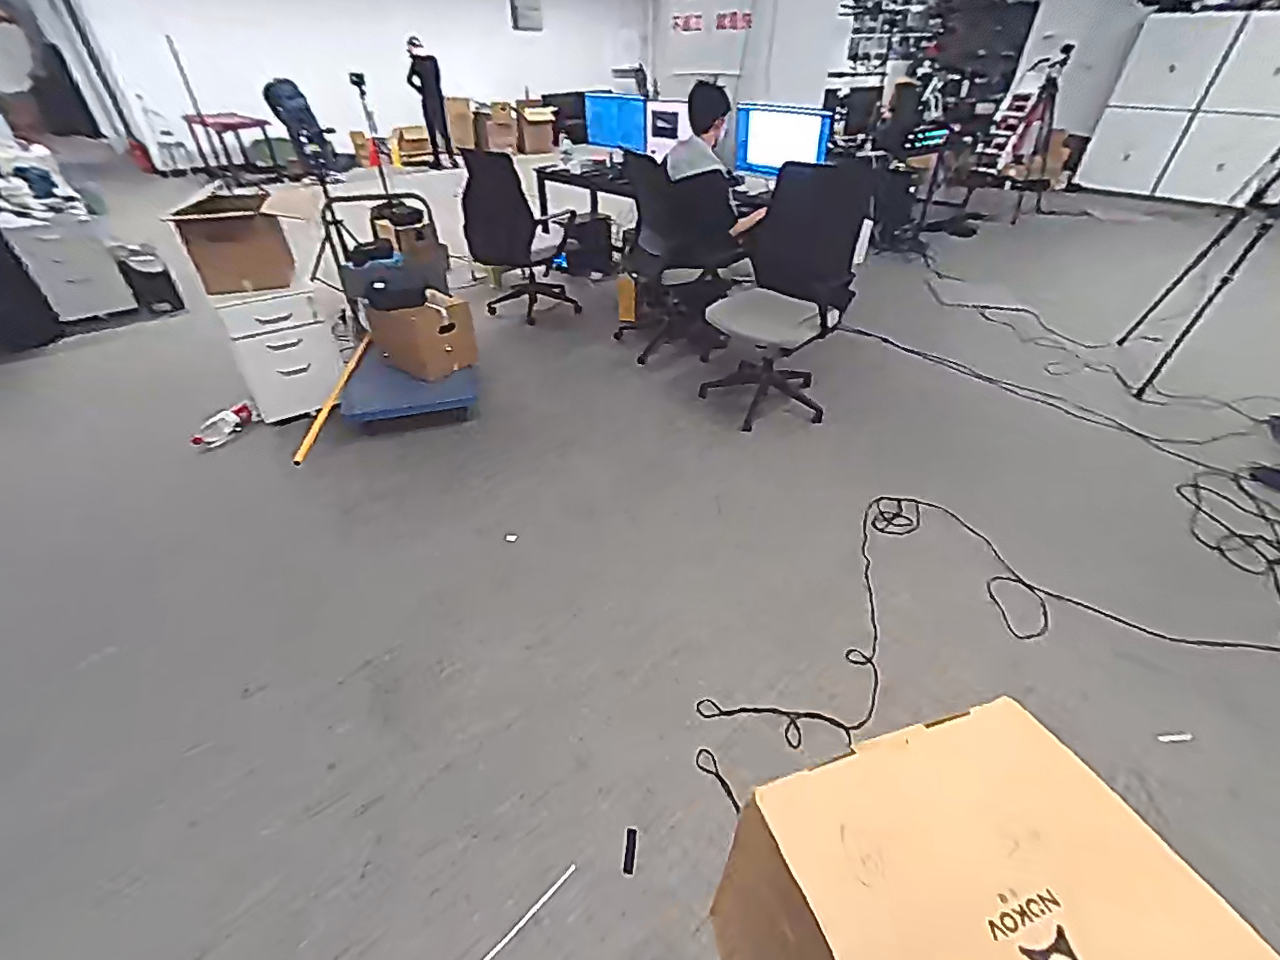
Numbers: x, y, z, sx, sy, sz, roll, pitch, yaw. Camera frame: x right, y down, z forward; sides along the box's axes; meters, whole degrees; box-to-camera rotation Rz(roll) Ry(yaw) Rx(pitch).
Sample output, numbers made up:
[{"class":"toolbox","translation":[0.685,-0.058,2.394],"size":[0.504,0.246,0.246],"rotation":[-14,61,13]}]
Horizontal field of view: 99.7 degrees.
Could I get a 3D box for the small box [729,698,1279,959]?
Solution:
[{"class":"small box","translation":[0.158,0.248,0.262],"size":[0.168,0.176,0.179],"rotation":[-10,36,-18]}]
